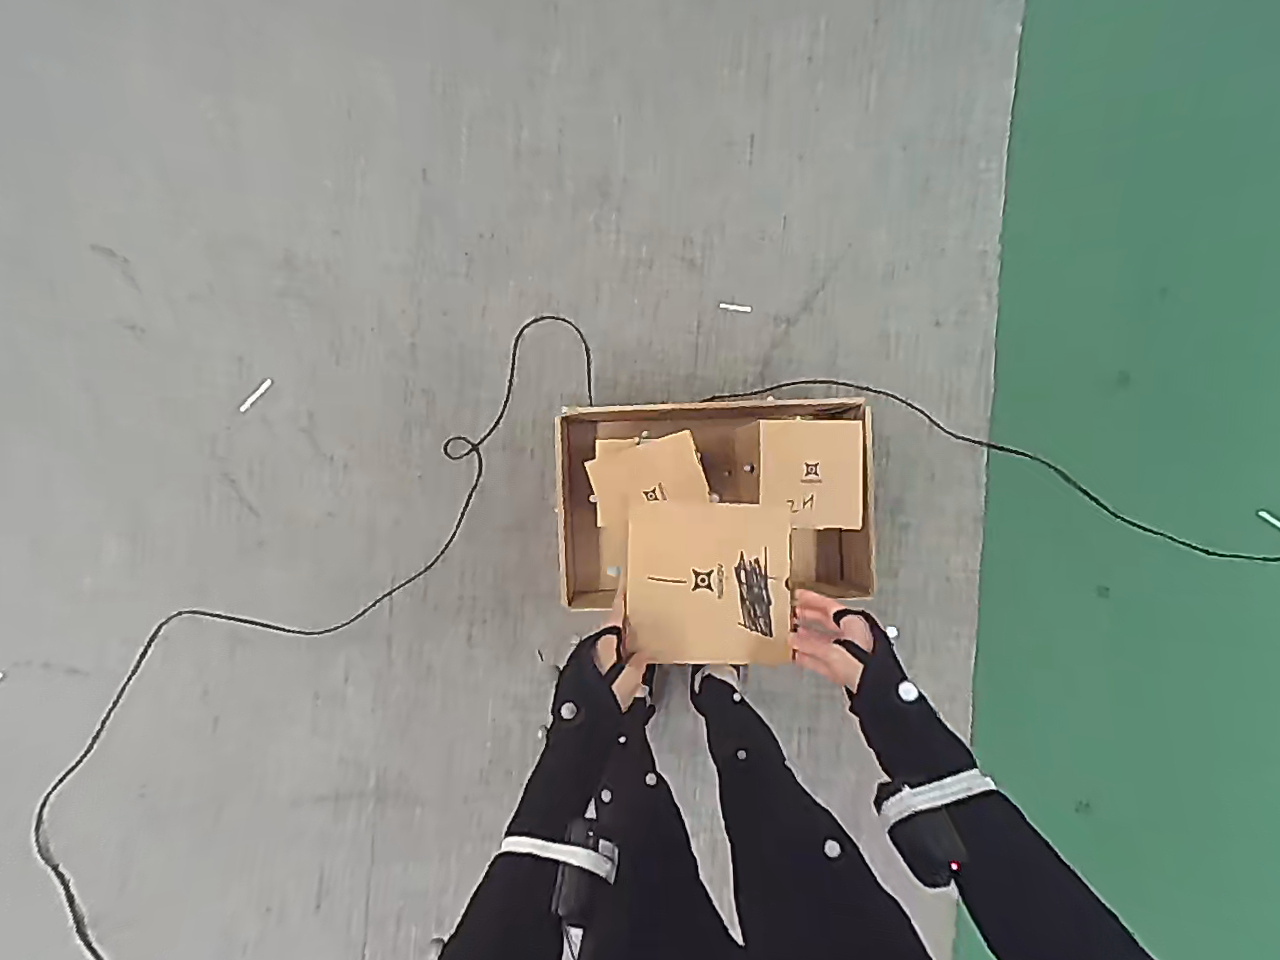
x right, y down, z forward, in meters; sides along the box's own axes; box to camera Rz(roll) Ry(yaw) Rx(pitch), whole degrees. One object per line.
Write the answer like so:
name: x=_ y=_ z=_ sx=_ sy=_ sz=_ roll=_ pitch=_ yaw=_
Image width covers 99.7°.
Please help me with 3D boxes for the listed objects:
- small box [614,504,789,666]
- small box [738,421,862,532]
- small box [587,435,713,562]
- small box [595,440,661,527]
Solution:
small box: x=0.063 y=0.117 z=0.640 sx=0.179 sy=0.176 sz=0.168 roll=2 pitch=83 yaw=-4
small box: x=0.266 y=-0.005 z=0.932 sx=0.168 sy=0.176 sz=0.179 roll=0 pitch=91 yaw=-1
small box: x=0.017 y=0.026 z=0.930 sx=0.179 sy=0.176 sz=0.168 roll=-18 pitch=92 yaw=-2
small box: x=0.002 y=0.007 z=1.092 sx=0.179 sy=0.176 sz=0.168 roll=-1 pitch=91 yaw=-2
